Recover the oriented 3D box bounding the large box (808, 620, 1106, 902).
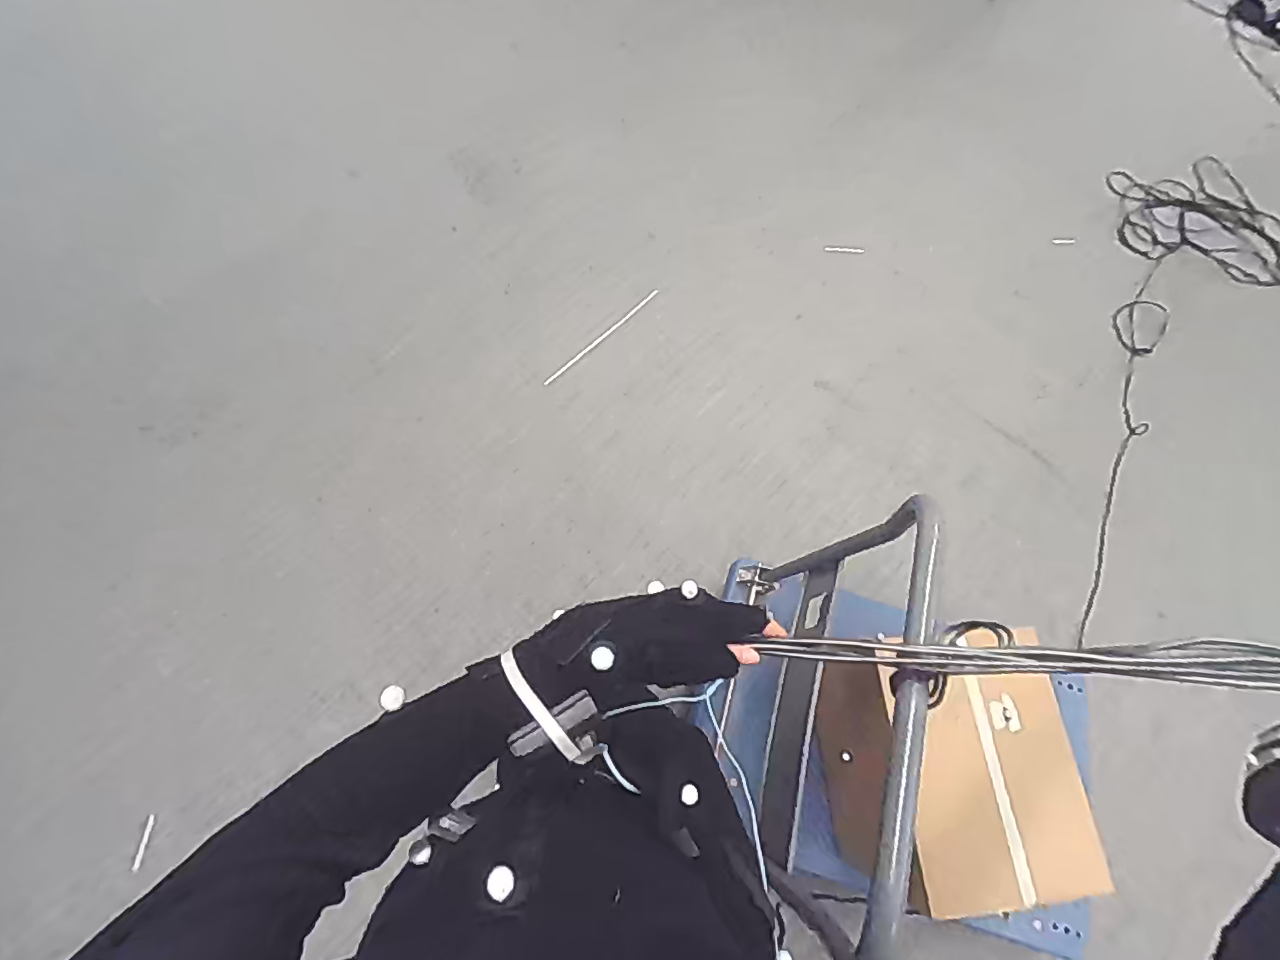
[{"bbox_3d":[0.557,0.501,1.040,0.320,0.320,0.408,-2,70,-7],"label":"large box"}]
